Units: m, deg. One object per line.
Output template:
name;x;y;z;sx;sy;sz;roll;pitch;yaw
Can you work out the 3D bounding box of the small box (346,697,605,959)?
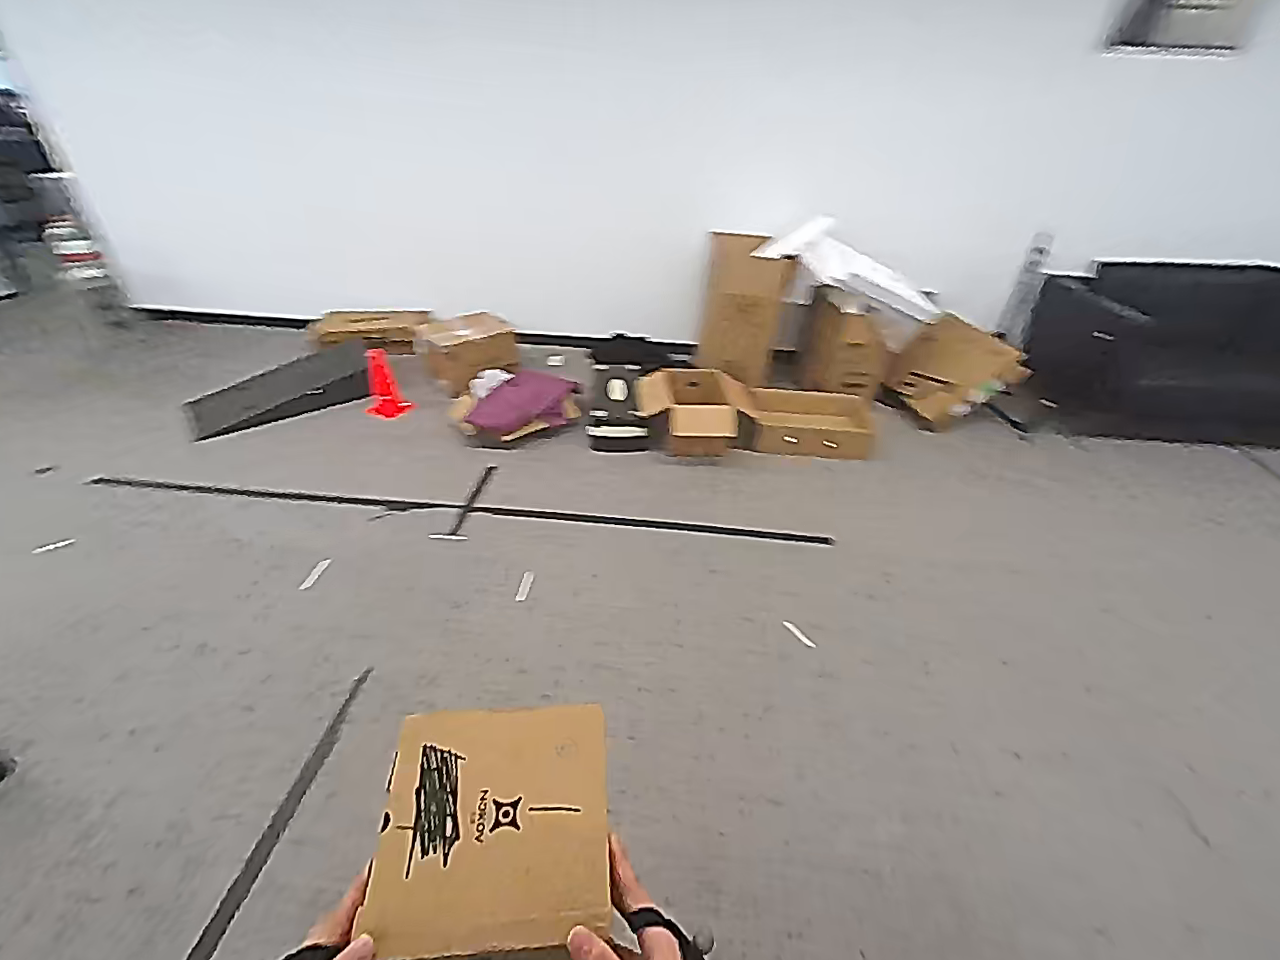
small box;-0.123;0.316;0.480;0.179;0.176;0.168;-2;44;-7
